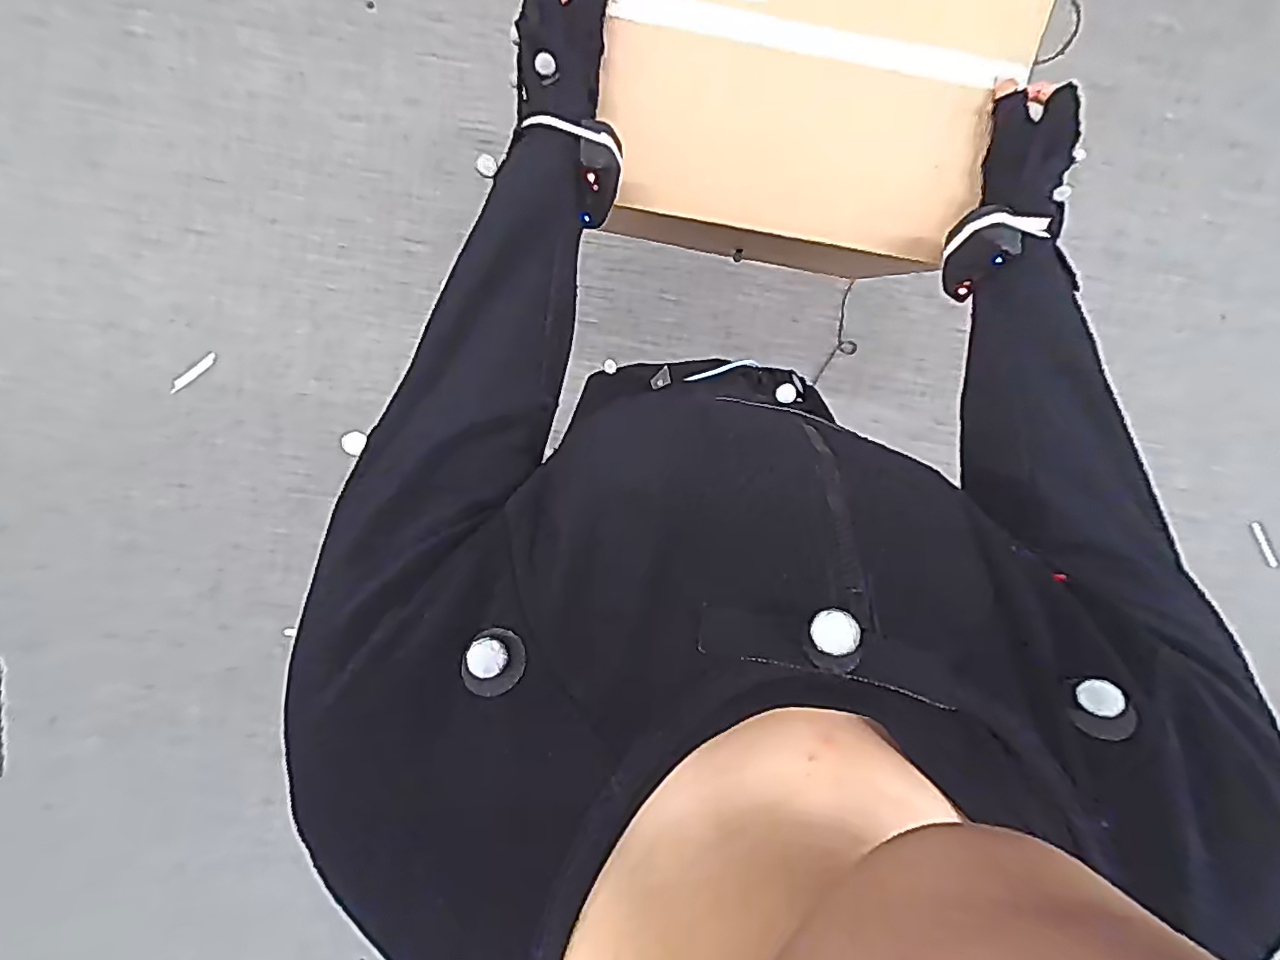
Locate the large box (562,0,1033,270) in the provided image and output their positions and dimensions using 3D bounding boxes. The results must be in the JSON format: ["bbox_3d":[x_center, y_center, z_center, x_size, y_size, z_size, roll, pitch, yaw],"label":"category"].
[{"bbox_3d":[0.147,-0.441,0.633,0.408,0.320,0.320,10,108,-1],"label":"large box"}]
